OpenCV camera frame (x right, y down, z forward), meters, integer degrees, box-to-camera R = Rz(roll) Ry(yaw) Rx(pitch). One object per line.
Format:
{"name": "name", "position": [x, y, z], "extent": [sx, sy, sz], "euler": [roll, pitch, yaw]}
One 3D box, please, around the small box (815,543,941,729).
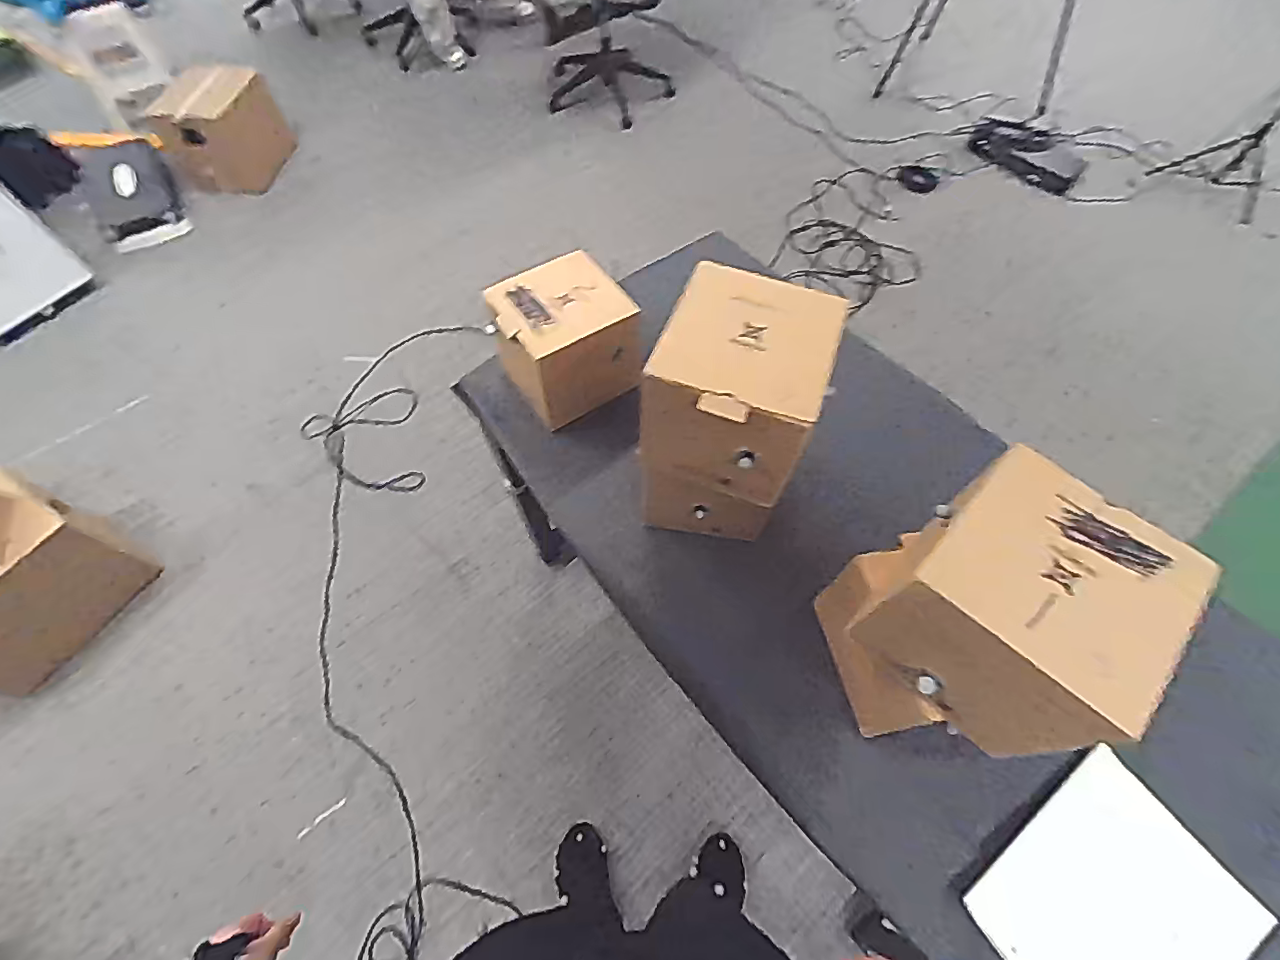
{"name": "small box", "position": [0.329, 0.181, 0.631], "extent": [0.168, 0.176, 0.179], "euler": [-9, 59, -6]}

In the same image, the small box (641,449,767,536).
{"name": "small box", "position": [0.096, -0.038, 0.756], "extent": [0.168, 0.176, 0.179], "euler": [9, 60, 4]}

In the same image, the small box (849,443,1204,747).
{"name": "small box", "position": [0.319, 0.107, 0.484], "extent": [0.168, 0.176, 0.179], "euler": [40, 67, 21]}

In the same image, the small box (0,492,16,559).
{"name": "small box", "position": [-1.519, 0.094, 1.160], "extent": [0.168, 0.176, 0.179], "euler": [-16, 64, -10]}

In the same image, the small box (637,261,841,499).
{"name": "small box", "position": [0.103, -0.105, 0.607], "extent": [0.168, 0.176, 0.179], "euler": [19, 61, 9]}
